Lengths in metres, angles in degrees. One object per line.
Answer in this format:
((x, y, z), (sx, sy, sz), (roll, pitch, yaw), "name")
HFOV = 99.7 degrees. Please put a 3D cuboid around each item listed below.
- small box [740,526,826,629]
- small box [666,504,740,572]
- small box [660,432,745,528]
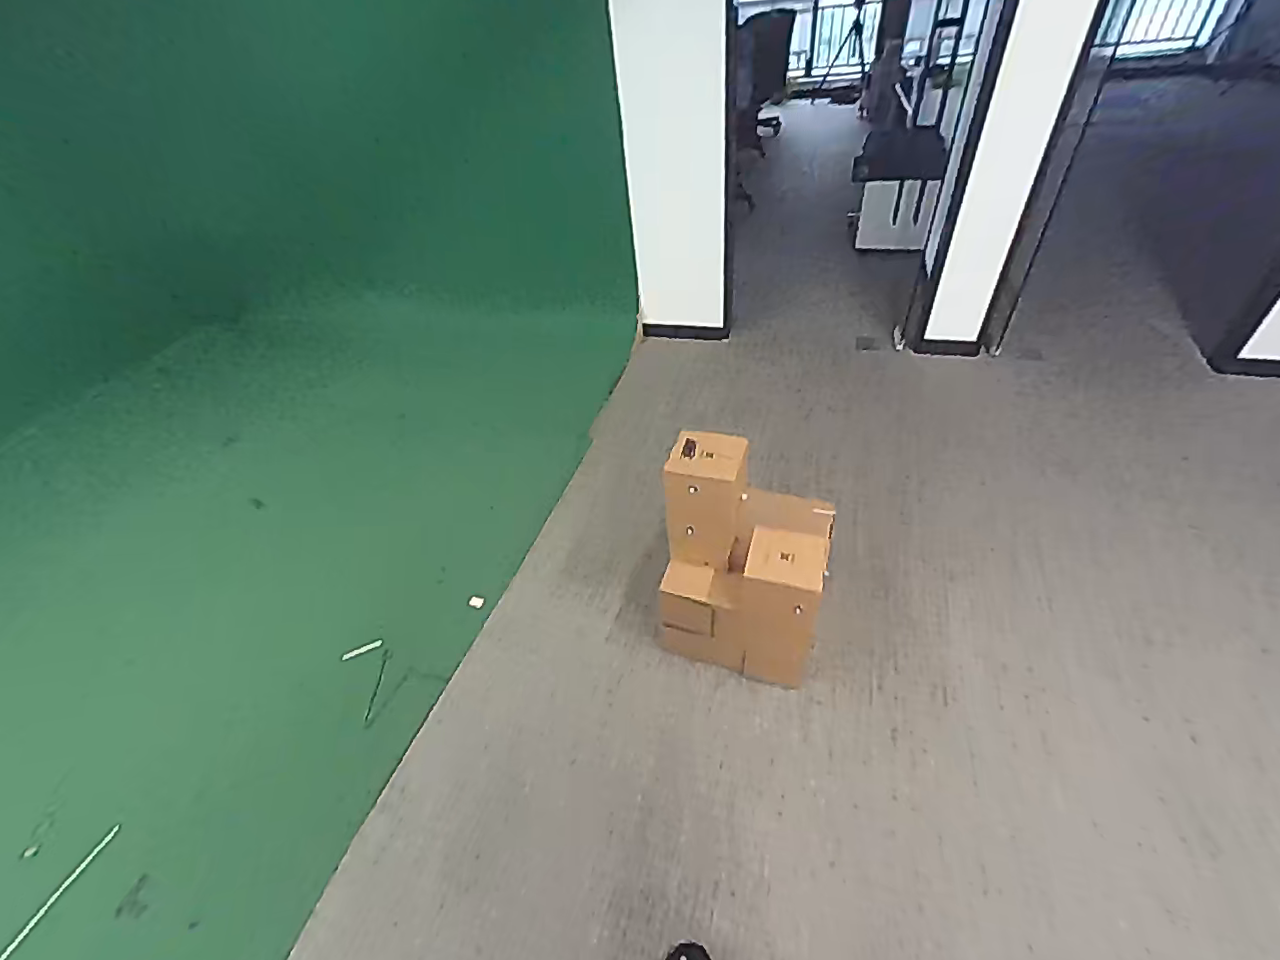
((0.346, 0.239, 1.318), (0.179, 0.176, 0.168), (8, 44, 17), "small box")
((0.175, 0.121, 1.474), (0.168, 0.176, 0.179), (9, 43, 19), "small box")
((0.161, 0.001, 1.362), (0.179, 0.176, 0.168), (10, 44, 18), "small box")
